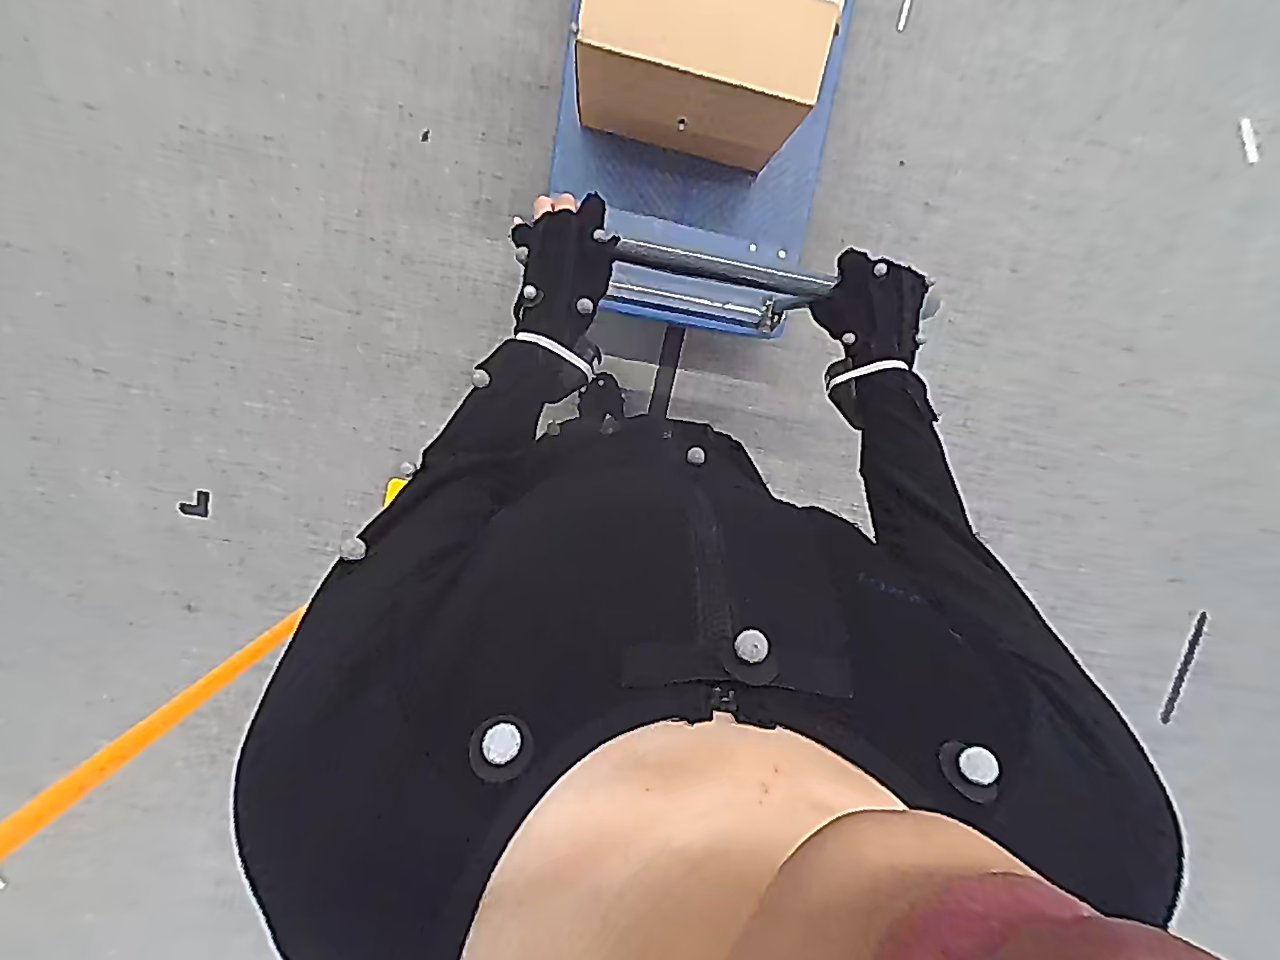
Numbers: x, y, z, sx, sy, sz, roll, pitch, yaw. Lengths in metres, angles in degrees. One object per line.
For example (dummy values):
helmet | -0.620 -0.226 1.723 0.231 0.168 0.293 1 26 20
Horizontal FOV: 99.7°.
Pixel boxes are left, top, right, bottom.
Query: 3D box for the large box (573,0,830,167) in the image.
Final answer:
large box | 0.105 -0.835 1.005 0.408 0.320 0.320 10 100 -6
